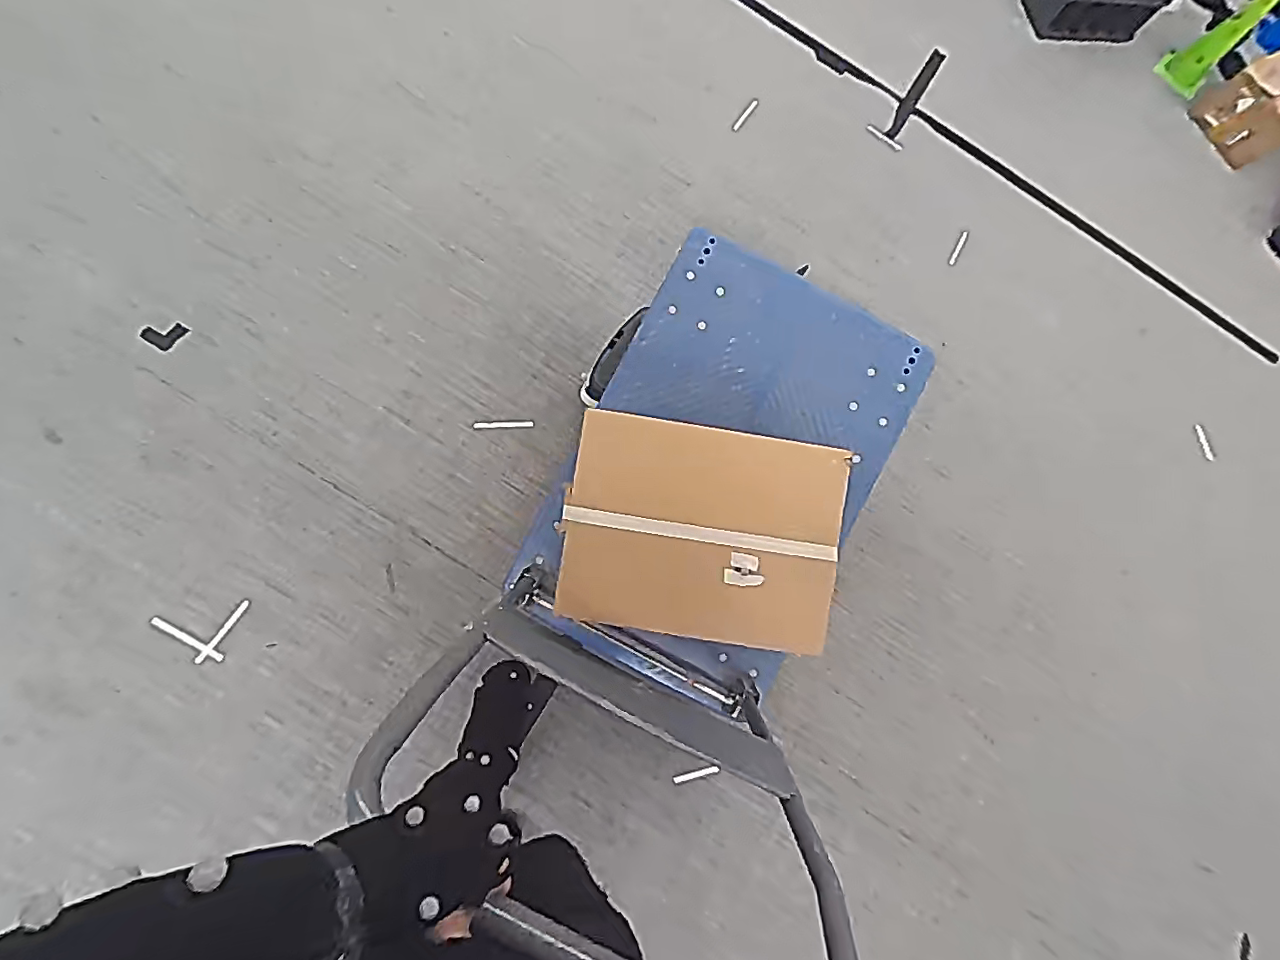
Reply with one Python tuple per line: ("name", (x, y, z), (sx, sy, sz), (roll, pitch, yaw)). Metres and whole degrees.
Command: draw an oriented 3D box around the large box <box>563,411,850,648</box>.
("large box", (0.095, 0.079, 0.956), (0.408, 0.320, 0.320), (9, 89, -2))
